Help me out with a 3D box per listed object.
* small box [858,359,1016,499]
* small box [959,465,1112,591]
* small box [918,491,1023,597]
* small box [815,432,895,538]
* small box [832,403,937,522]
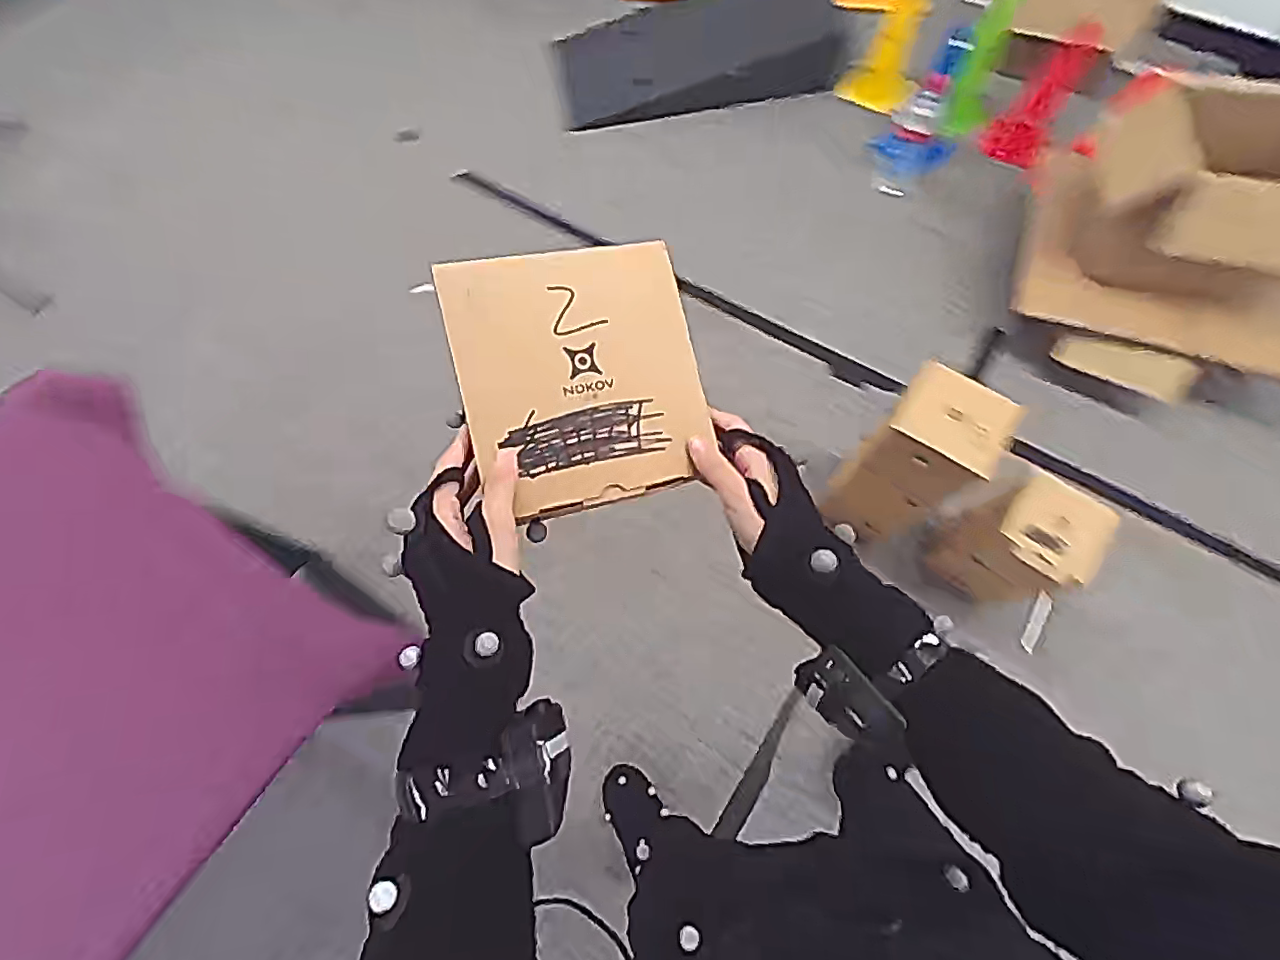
[{"bbox_3d":[0.544,-0.087,1.016,0.179,0.176,0.168,32,74,10],"label":"small box"},{"bbox_3d":[0.797,0.107,1.112,0.168,0.176,0.179,35,73,13],"label":"small box"},{"bbox_3d":[0.802,0.158,1.269,0.179,0.176,0.168,36,75,12],"label":"small box"},{"bbox_3d":[0.551,0.019,1.326,0.168,0.176,0.179,31,72,11],"label":"small box"},{"bbox_3d":[0.547,-0.029,1.171,0.179,0.176,0.168,32,73,11],"label":"small box"}]
